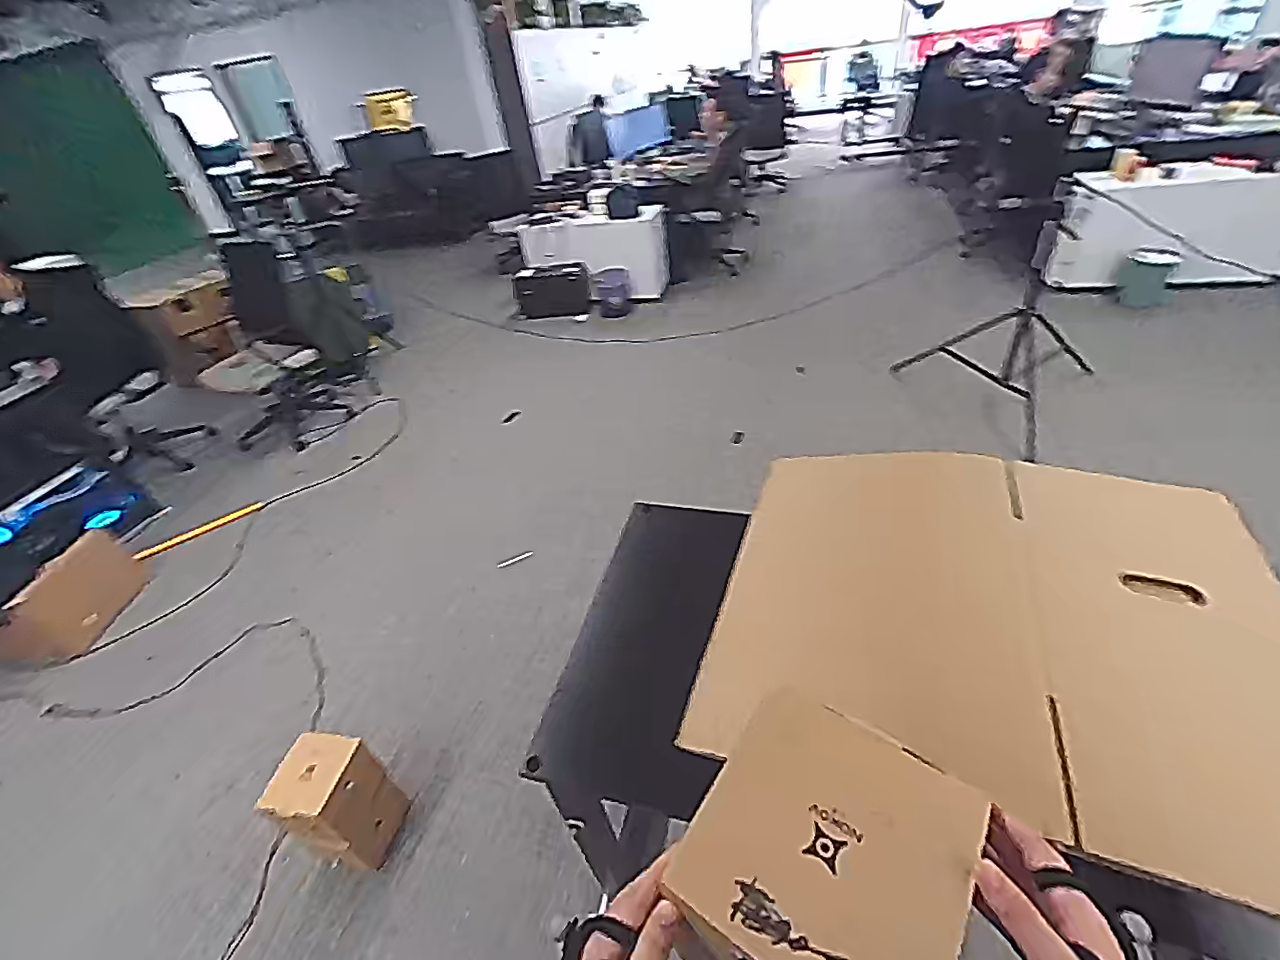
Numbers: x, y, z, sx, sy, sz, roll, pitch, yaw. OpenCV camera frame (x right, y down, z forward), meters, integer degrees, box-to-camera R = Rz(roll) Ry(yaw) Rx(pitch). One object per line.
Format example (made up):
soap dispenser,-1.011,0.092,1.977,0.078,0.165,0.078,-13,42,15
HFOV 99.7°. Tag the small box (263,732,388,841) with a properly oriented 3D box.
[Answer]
small box,-0.745,0.742,1.307,0.168,0.176,0.179,1,38,11

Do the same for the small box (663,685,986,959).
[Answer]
small box,0.133,0.306,0.412,0.168,0.176,0.179,20,43,32

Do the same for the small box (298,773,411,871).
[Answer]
small box,-0.724,0.872,1.401,0.168,0.176,0.179,2,40,14
